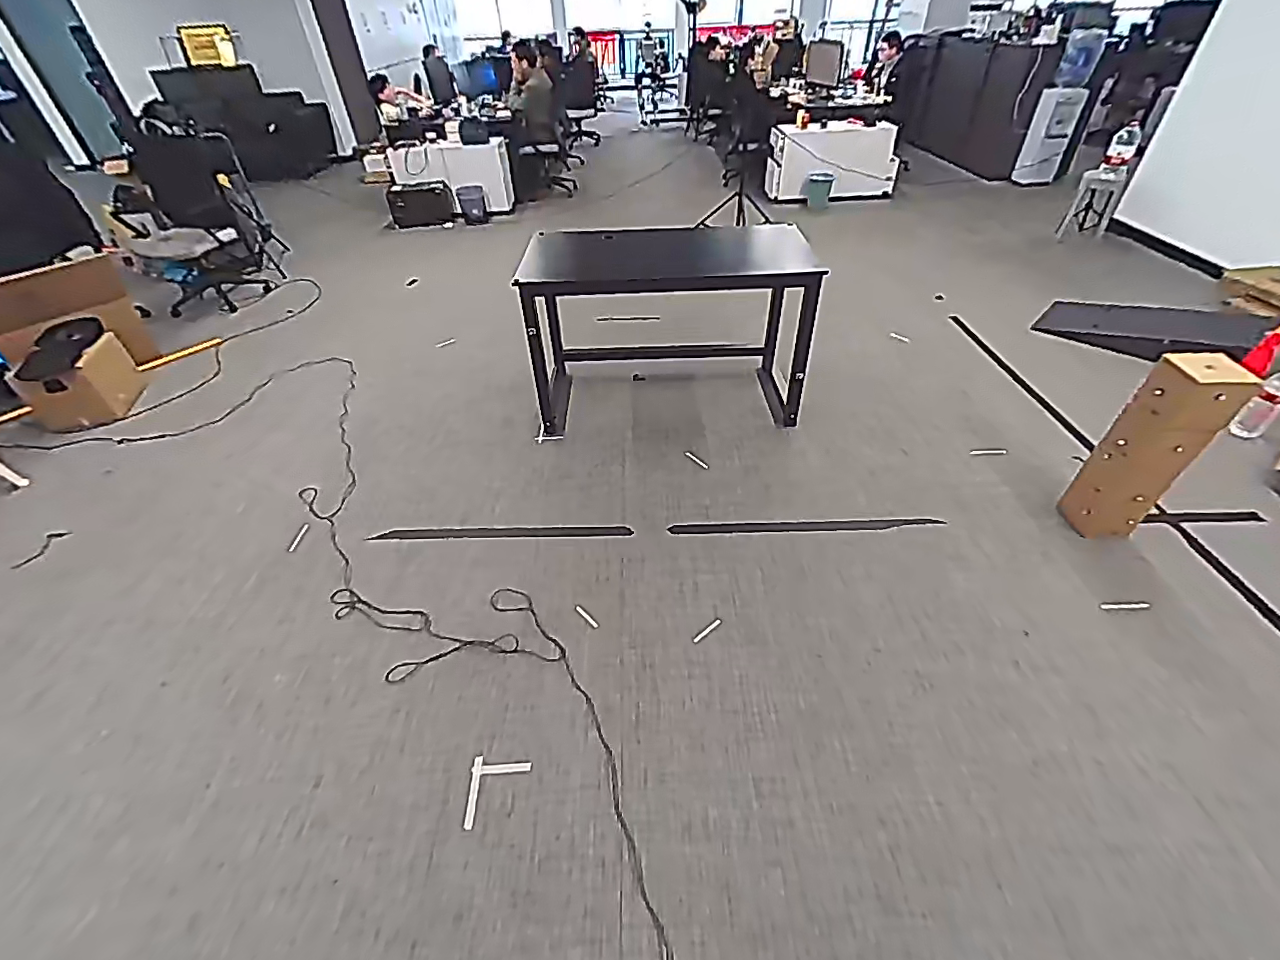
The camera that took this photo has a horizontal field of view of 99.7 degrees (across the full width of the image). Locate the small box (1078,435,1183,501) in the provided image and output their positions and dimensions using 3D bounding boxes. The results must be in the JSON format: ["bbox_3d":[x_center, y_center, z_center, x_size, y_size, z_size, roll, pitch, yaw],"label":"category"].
[{"bbox_3d":[1.681,-0.044,1.866,0.179,0.176,0.168,-3,42,-1],"label":"small box"}]

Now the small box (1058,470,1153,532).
[{"bbox_3d":[1.690,0.077,1.976,0.168,0.176,0.179,-2,40,1],"label":"small box"}]

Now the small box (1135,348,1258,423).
[{"bbox_3d":[1.668,-0.284,1.641,0.179,0.176,0.168,0,42,3],"label":"small box"}]

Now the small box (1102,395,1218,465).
[{"bbox_3d":[1.673,-0.164,1.753,0.179,0.176,0.168,-4,42,0],"label":"small box"}]
